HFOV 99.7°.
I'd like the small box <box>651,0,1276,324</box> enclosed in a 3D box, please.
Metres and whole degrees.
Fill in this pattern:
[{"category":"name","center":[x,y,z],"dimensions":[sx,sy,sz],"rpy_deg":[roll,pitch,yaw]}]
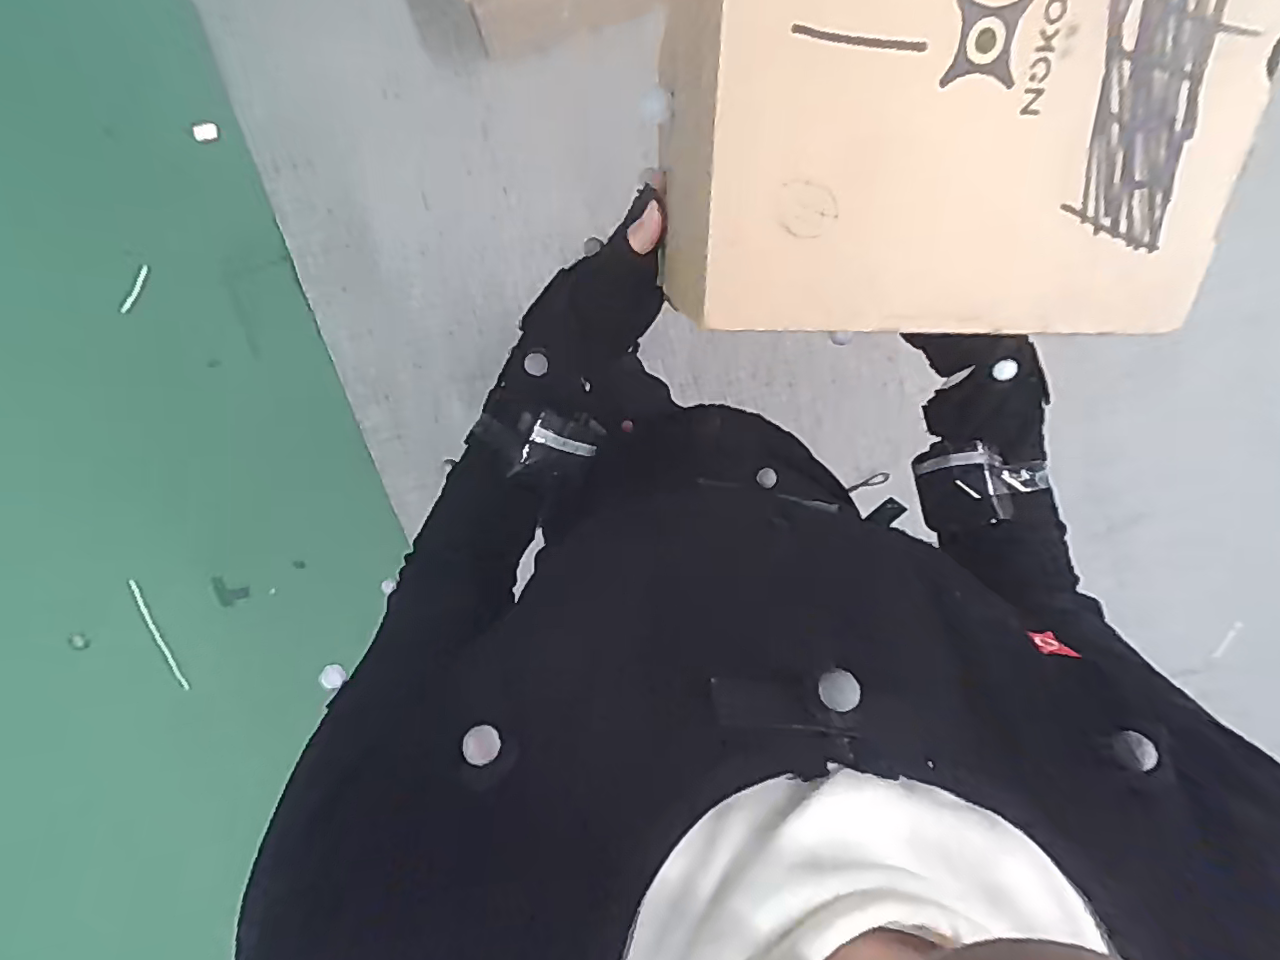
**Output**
[{"category":"small box","center":[0.099,-0.167,0.232],"dimensions":[0.179,0.176,0.168],"rpy_deg":[2,113,-2]}]
